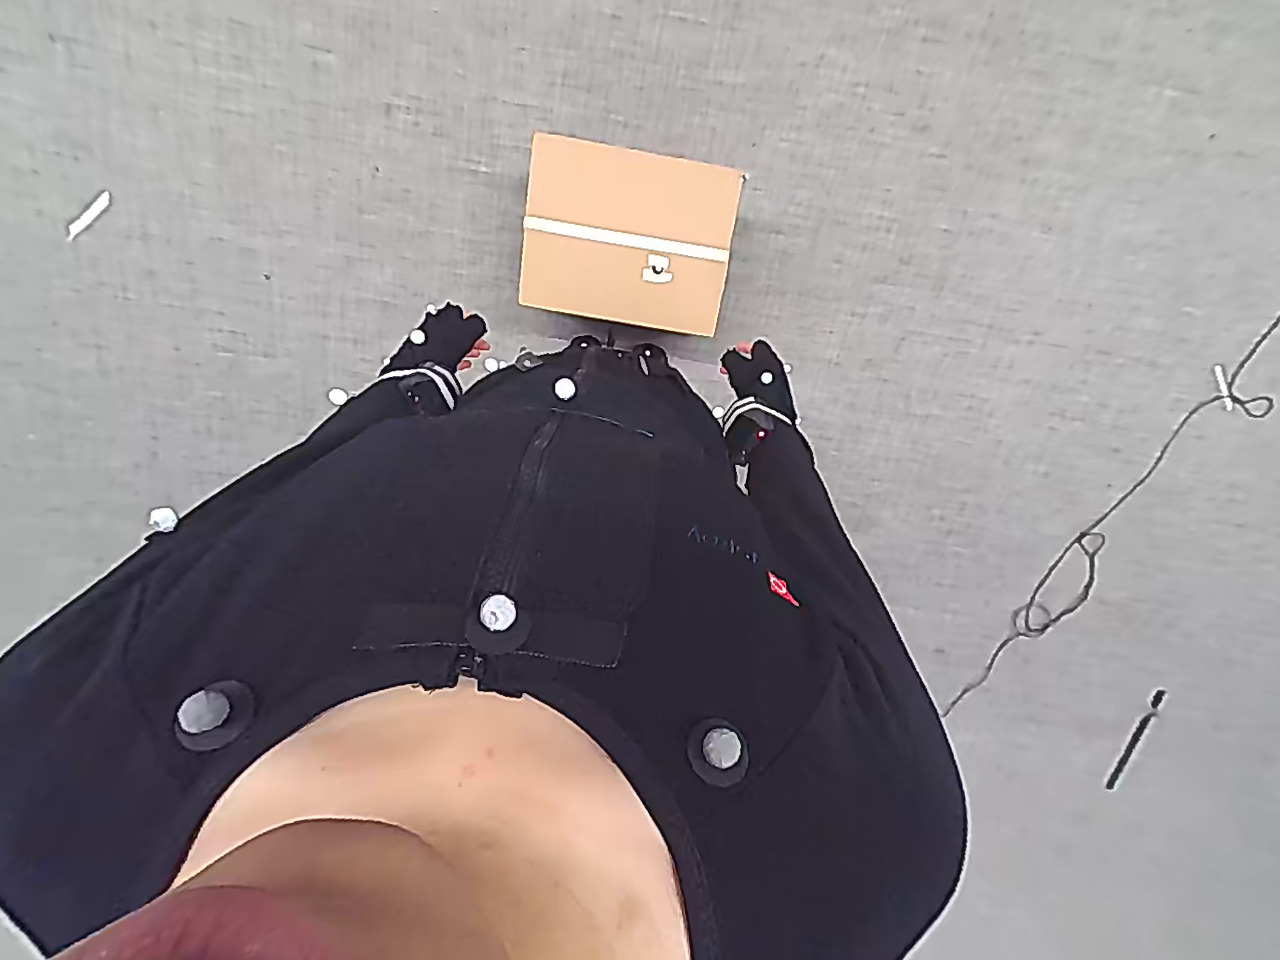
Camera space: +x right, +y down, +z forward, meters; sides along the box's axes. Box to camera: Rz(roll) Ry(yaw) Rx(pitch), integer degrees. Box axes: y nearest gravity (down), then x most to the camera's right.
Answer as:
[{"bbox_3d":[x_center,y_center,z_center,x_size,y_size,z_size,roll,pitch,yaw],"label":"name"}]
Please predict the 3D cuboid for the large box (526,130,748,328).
[{"bbox_3d":[-0.017,-0.522,1.194,0.408,0.320,0.320,8,107,-3],"label":"large box"}]
